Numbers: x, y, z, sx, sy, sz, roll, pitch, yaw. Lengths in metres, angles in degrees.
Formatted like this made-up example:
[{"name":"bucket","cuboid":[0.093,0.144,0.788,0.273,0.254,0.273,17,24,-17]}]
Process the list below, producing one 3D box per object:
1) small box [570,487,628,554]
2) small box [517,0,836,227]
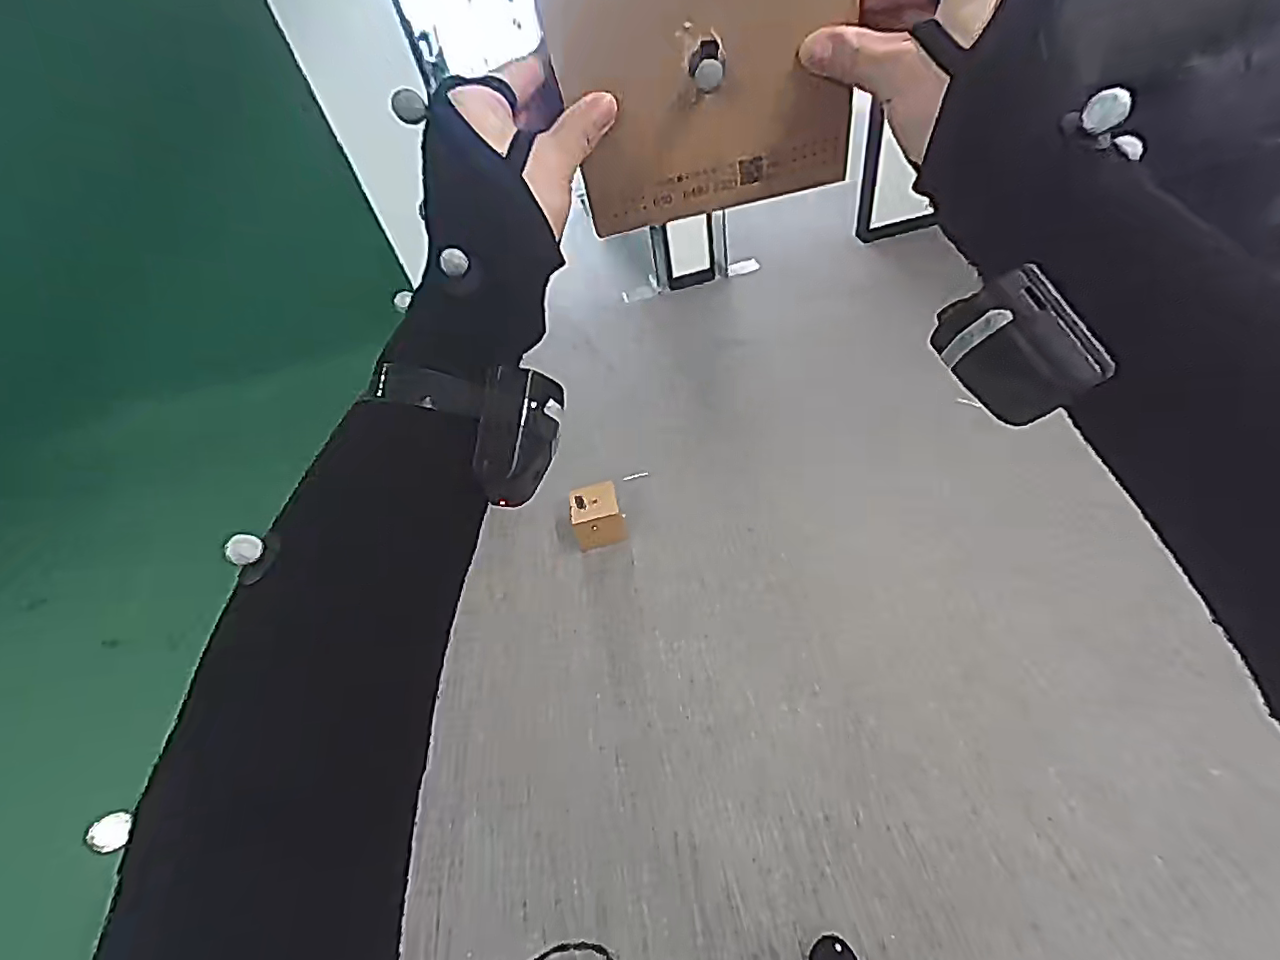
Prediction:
[{"name":"small box","cuboid":[-0.153,0.157,2.046,0.179,0.176,0.168,-14,46,-1]},{"name":"small box","cuboid":[0.024,-0.287,0.352,0.168,0.176,0.179,-10,48,6]}]
